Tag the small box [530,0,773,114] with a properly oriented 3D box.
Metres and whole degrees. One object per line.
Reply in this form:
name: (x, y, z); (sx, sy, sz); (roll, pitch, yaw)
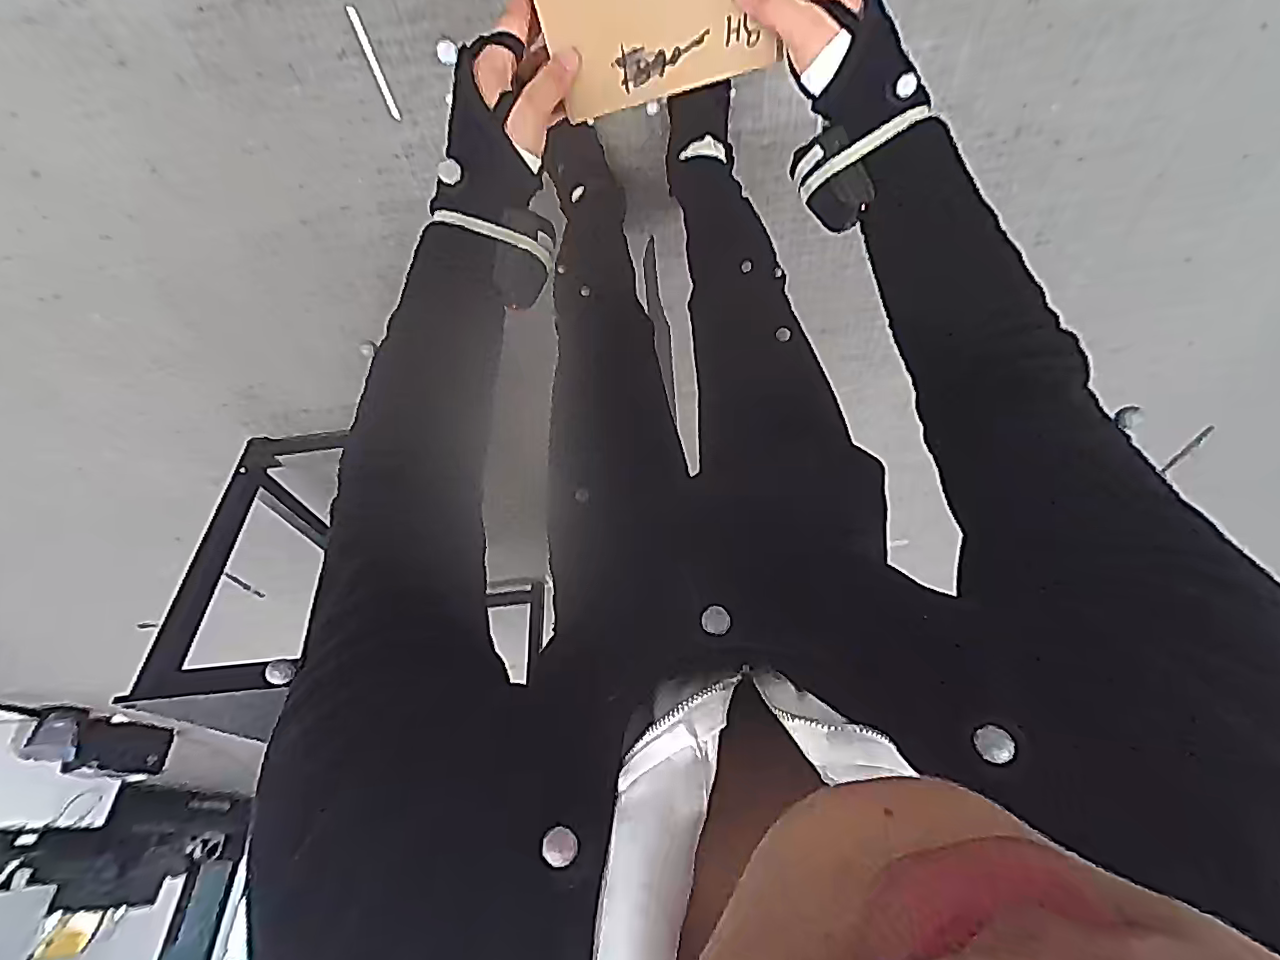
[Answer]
small box: (-0.003, -0.413, 0.405); (0.168, 0.176, 0.179); (-11, 135, 9)
